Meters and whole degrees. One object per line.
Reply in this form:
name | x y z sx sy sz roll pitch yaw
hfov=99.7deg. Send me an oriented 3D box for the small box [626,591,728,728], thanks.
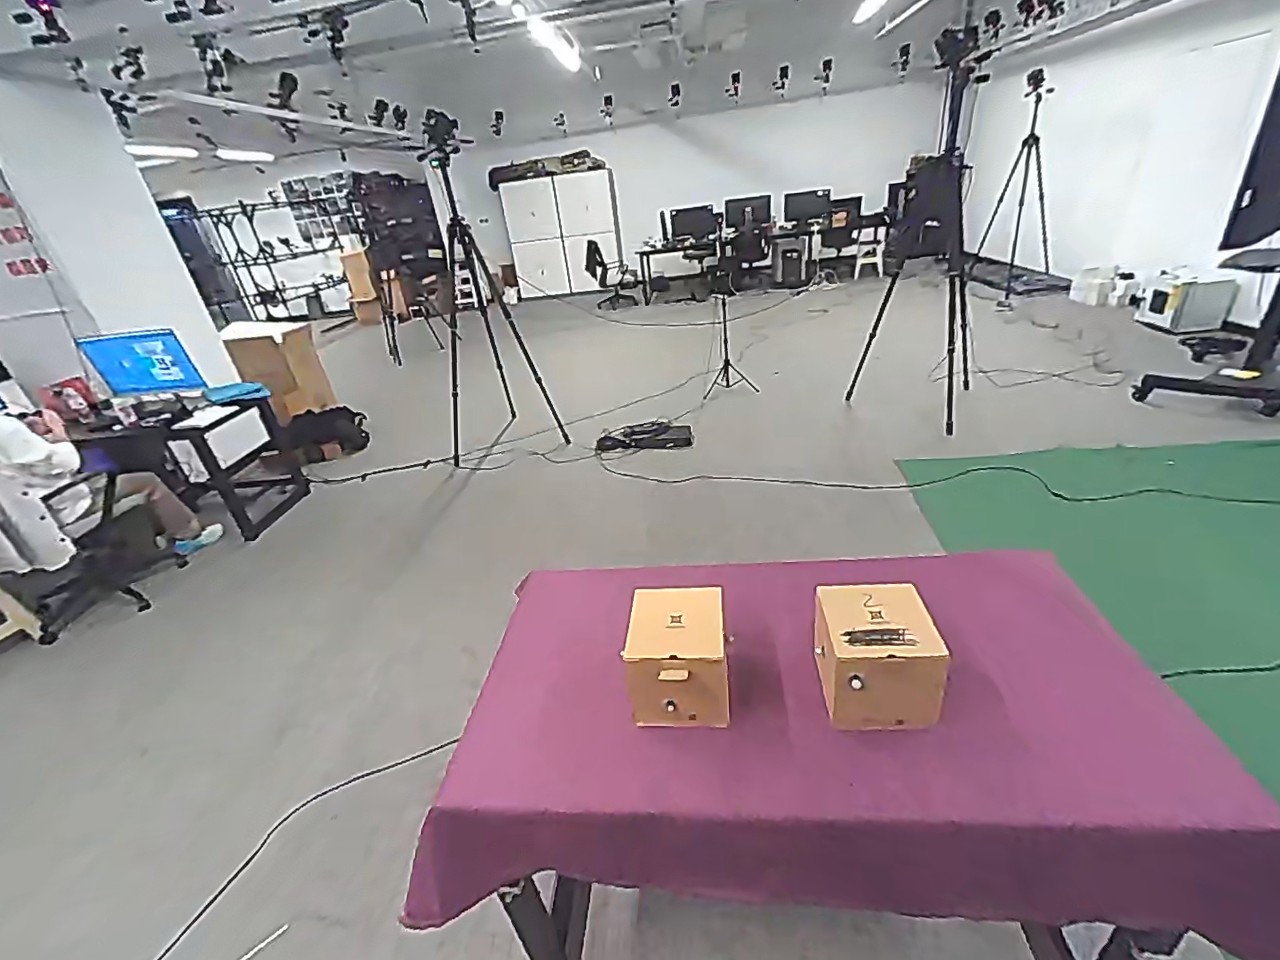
small box | 0.074 0.327 0.999 0.168 0.176 0.179 -4 29 9
